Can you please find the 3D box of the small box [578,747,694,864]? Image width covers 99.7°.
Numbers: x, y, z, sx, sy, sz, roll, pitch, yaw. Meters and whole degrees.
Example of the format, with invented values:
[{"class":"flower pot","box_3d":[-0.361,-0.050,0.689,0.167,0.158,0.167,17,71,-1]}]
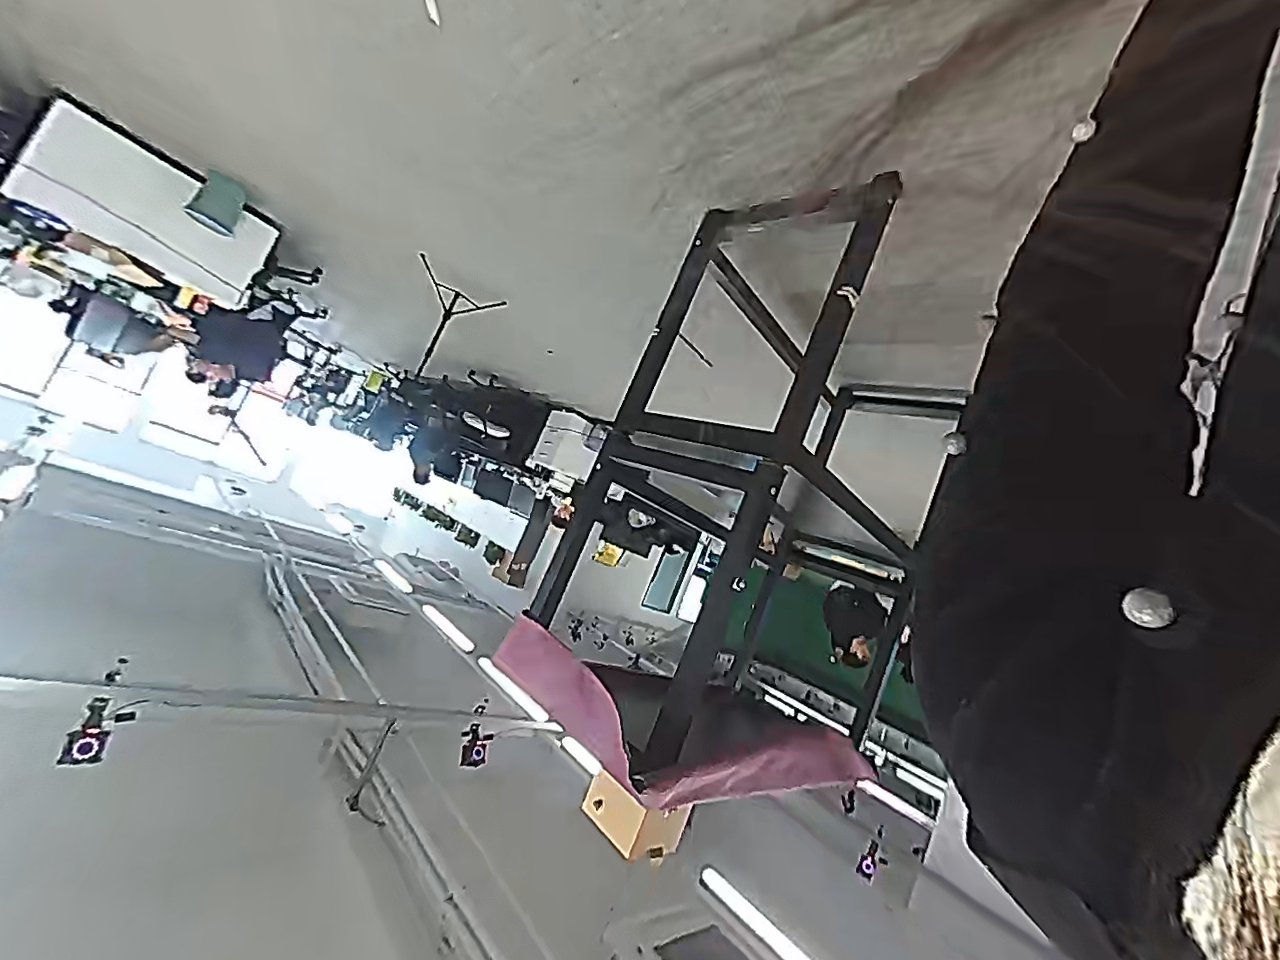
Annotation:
[{"class":"small box","box_3d":[-0.006,0.739,1.250,0.168,0.176,0.179,28,172,-42]}]
